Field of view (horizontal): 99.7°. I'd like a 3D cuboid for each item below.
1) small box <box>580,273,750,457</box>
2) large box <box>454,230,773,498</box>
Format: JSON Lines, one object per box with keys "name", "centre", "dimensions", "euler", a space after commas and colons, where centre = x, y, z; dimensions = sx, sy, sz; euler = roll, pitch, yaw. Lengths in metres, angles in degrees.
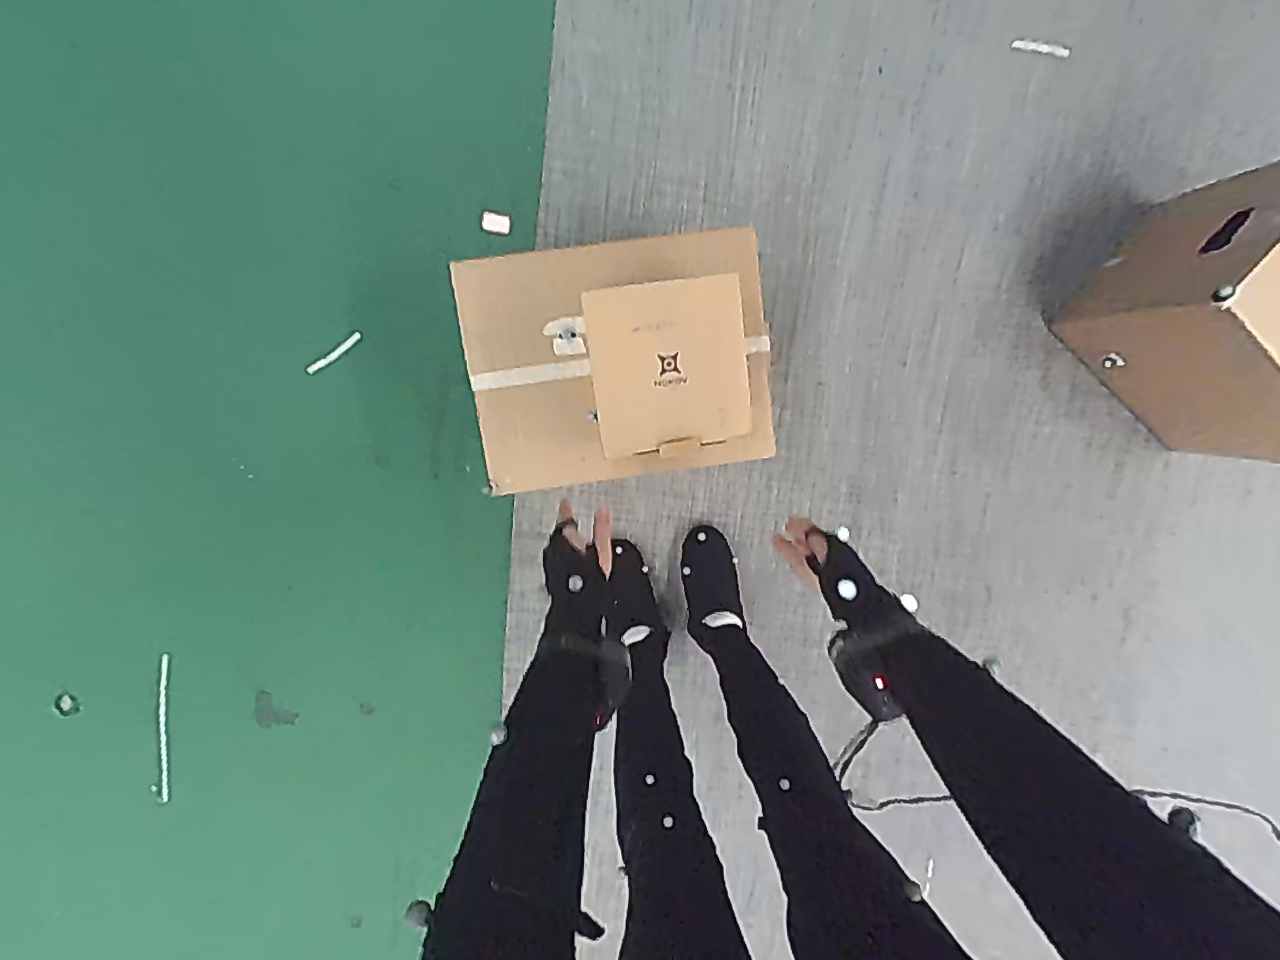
{"name": "small box", "centre": [0.025, -0.133, 0.644], "dimensions": [0.168, 0.176, 0.179], "euler": [-8, 100, -3]}
{"name": "large box", "centre": [-0.034, -0.177, 0.883], "dimensions": [0.408, 0.320, 0.320], "euler": [-8, 98, -1]}
